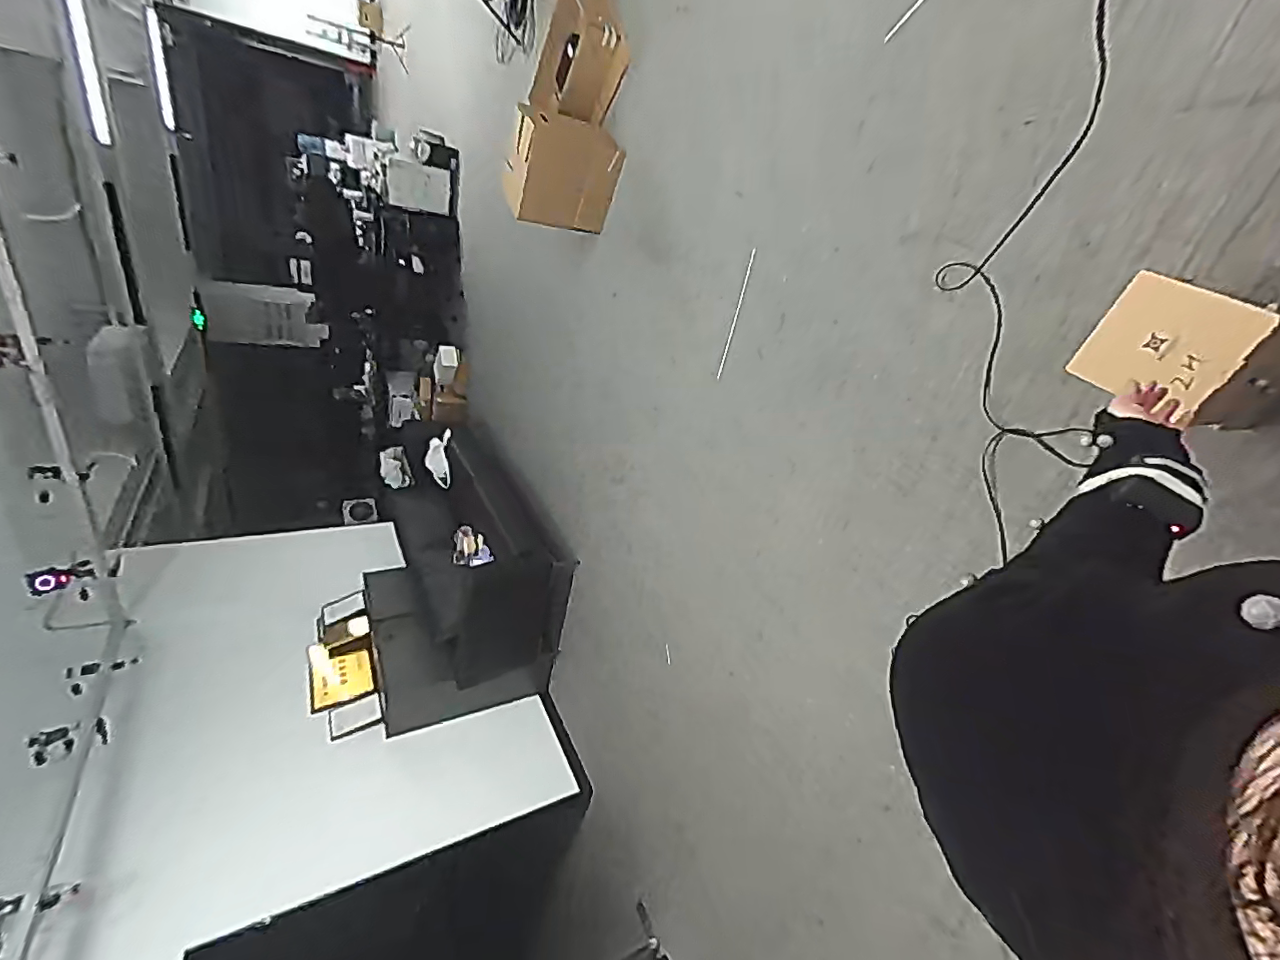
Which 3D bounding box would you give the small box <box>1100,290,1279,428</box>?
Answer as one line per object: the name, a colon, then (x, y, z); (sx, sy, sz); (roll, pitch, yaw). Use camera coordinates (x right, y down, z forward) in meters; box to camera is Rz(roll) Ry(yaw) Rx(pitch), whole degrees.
small box: (0.955, -0.202, 0.920); (0.168, 0.176, 0.179); (50, 133, 43)
